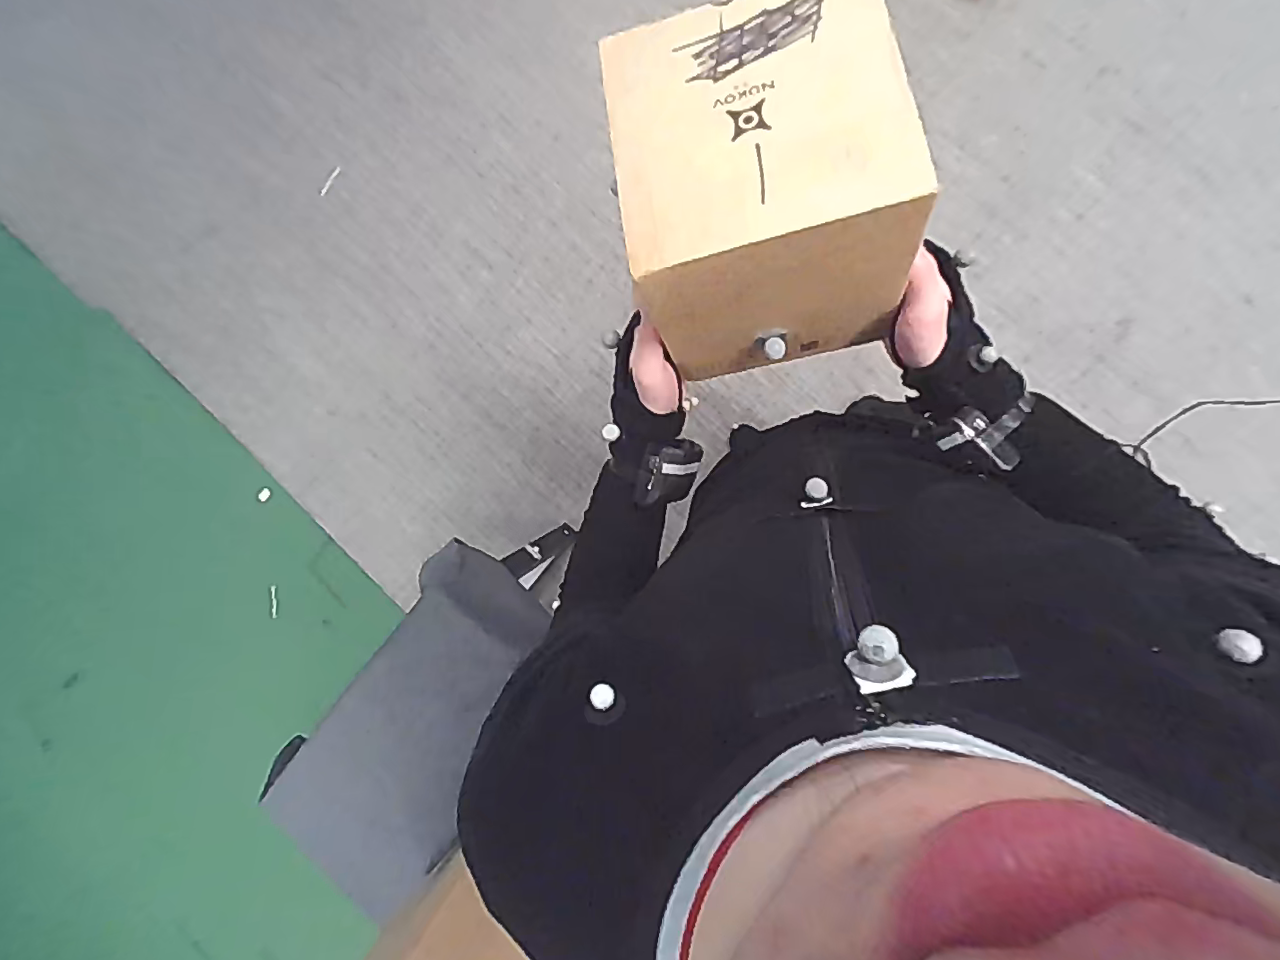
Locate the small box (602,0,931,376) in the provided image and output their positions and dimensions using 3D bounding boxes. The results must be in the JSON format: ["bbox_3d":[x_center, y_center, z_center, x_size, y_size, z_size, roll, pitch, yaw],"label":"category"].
[{"bbox_3d":[0.082,-0.197,0.386,0.168,0.176,0.179,-10,77,14],"label":"small box"}]
